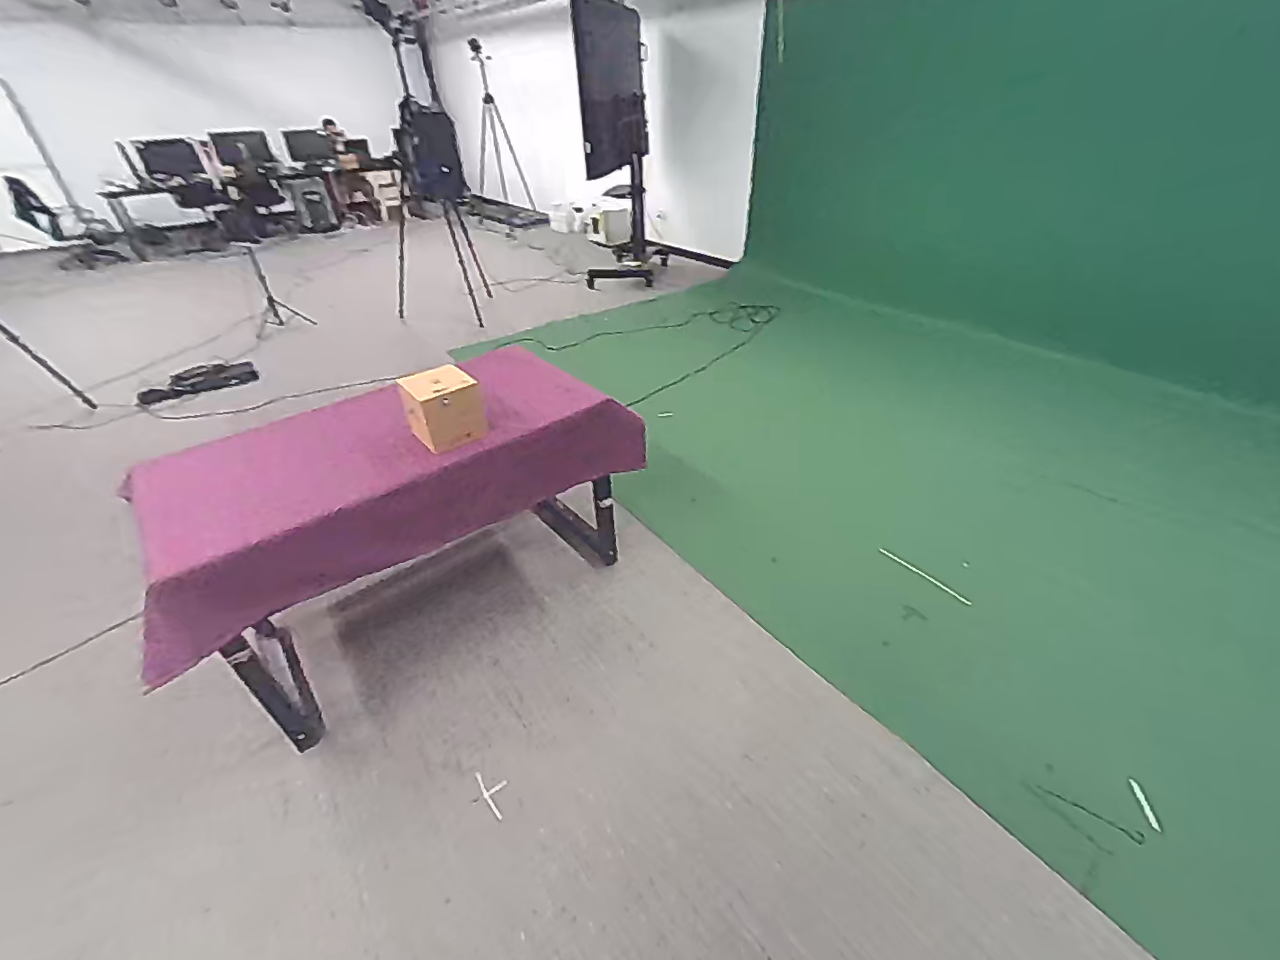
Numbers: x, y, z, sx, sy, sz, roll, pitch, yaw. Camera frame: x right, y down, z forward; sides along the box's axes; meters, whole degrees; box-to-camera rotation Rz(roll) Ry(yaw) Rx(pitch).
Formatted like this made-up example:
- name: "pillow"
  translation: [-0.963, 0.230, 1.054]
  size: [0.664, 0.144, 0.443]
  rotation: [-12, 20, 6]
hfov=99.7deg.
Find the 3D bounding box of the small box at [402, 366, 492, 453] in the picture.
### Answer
- name: "small box"
  translation: [-0.546, -0.200, 1.537]
  size: [0.168, 0.176, 0.179]
  rotation: [-28, 43, -29]
